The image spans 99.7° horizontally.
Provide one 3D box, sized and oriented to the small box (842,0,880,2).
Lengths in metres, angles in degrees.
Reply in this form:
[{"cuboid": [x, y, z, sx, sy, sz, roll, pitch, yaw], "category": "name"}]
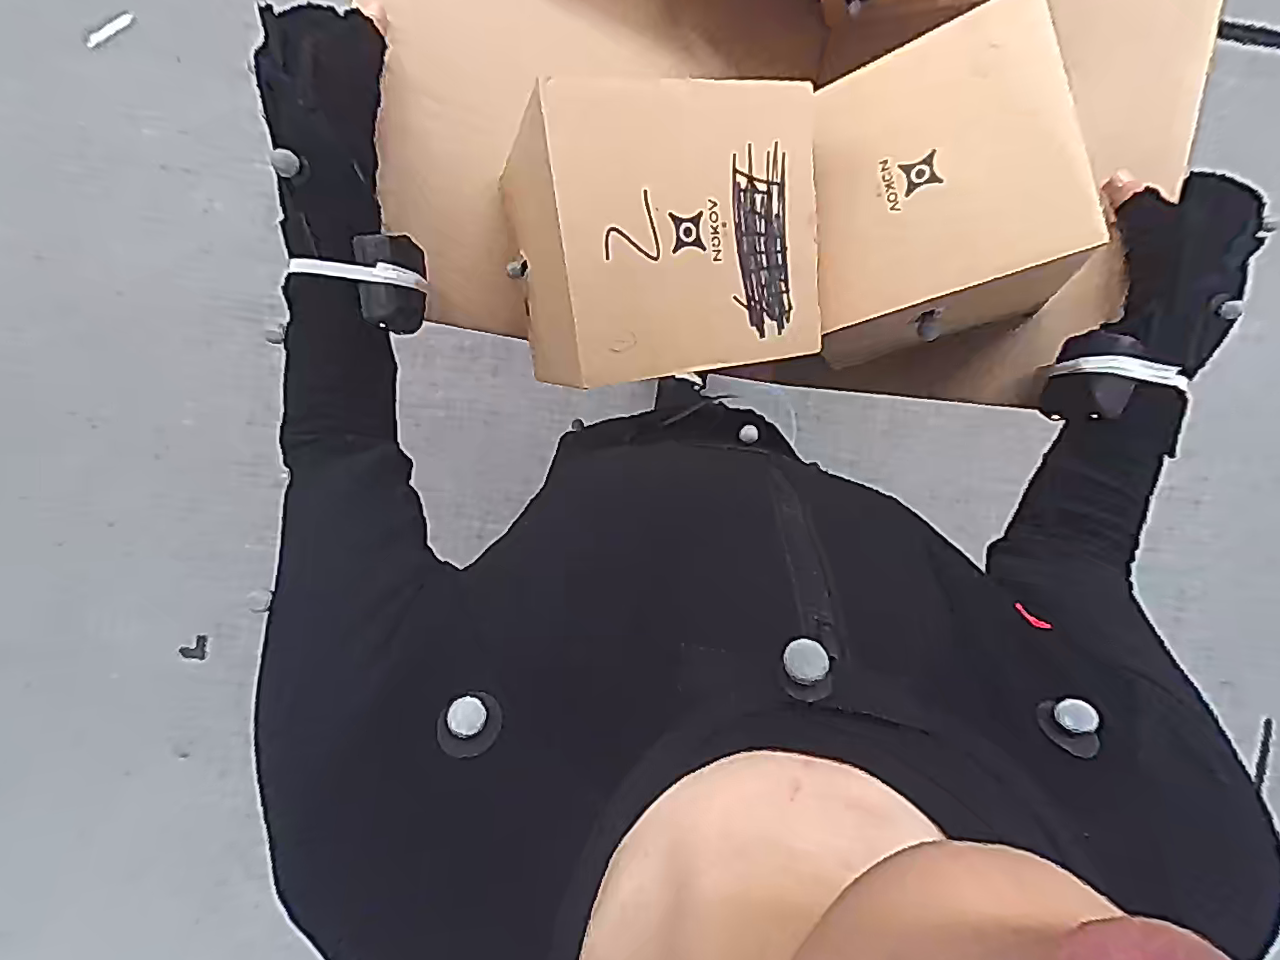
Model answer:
[{"cuboid": [0.228, -0.512, 0.409, 0.168, 0.176, 0.179, 13, 96, 24], "category": "small box"}]
